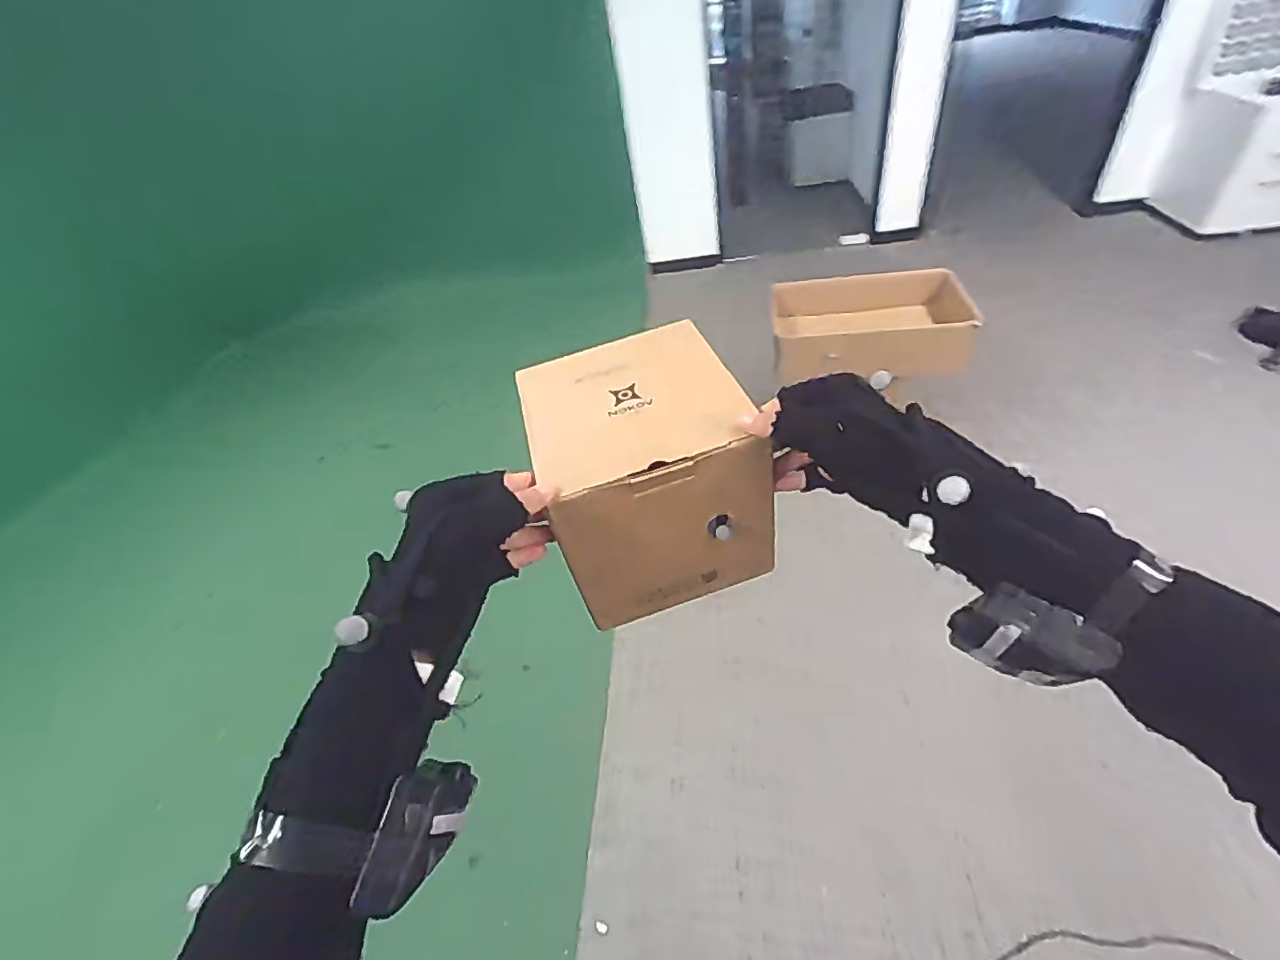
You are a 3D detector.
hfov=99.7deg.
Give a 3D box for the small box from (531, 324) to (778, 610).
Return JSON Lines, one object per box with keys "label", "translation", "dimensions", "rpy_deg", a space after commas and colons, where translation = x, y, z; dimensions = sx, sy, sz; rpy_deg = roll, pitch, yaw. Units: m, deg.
{"label": "small box", "translation": [0.014, -0.007, 0.482], "dimensions": [0.168, 0.176, 0.179], "rpy_deg": [-17, 42, -4]}
